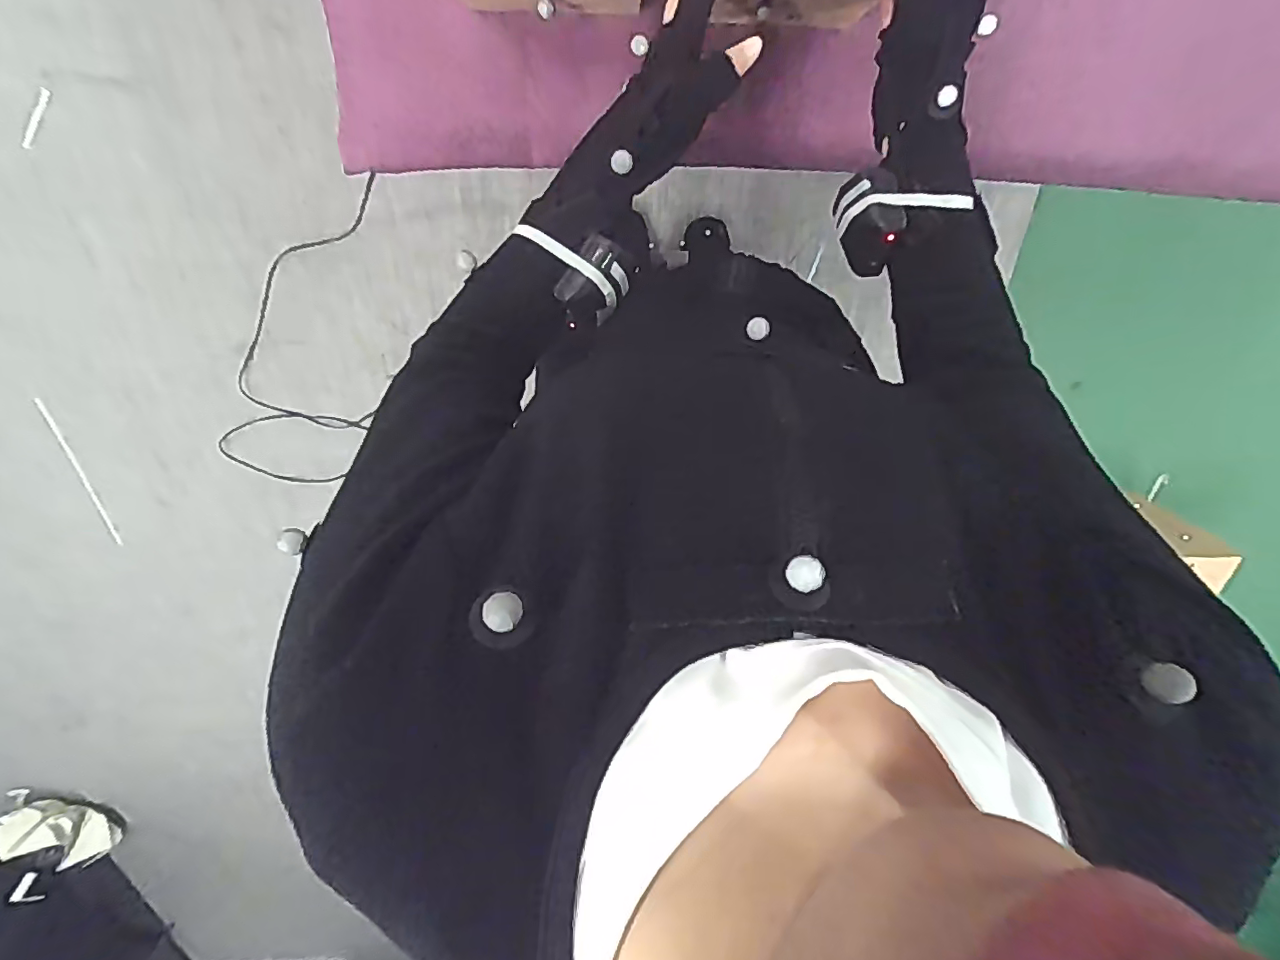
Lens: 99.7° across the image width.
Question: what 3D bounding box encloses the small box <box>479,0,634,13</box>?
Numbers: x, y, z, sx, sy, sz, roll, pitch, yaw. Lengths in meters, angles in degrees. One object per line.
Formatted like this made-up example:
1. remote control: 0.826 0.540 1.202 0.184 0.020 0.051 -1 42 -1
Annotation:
1. small box: -0.080 -0.495 0.411 0.168 0.176 0.179 0 118 -2

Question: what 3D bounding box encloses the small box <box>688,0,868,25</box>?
1. small box: 0.126 -0.492 0.420 0.168 0.176 0.179 1 118 -2

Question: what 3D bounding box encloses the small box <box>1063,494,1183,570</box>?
1. small box: 1.422 0.152 1.609 0.179 0.176 0.168 1 118 -2
